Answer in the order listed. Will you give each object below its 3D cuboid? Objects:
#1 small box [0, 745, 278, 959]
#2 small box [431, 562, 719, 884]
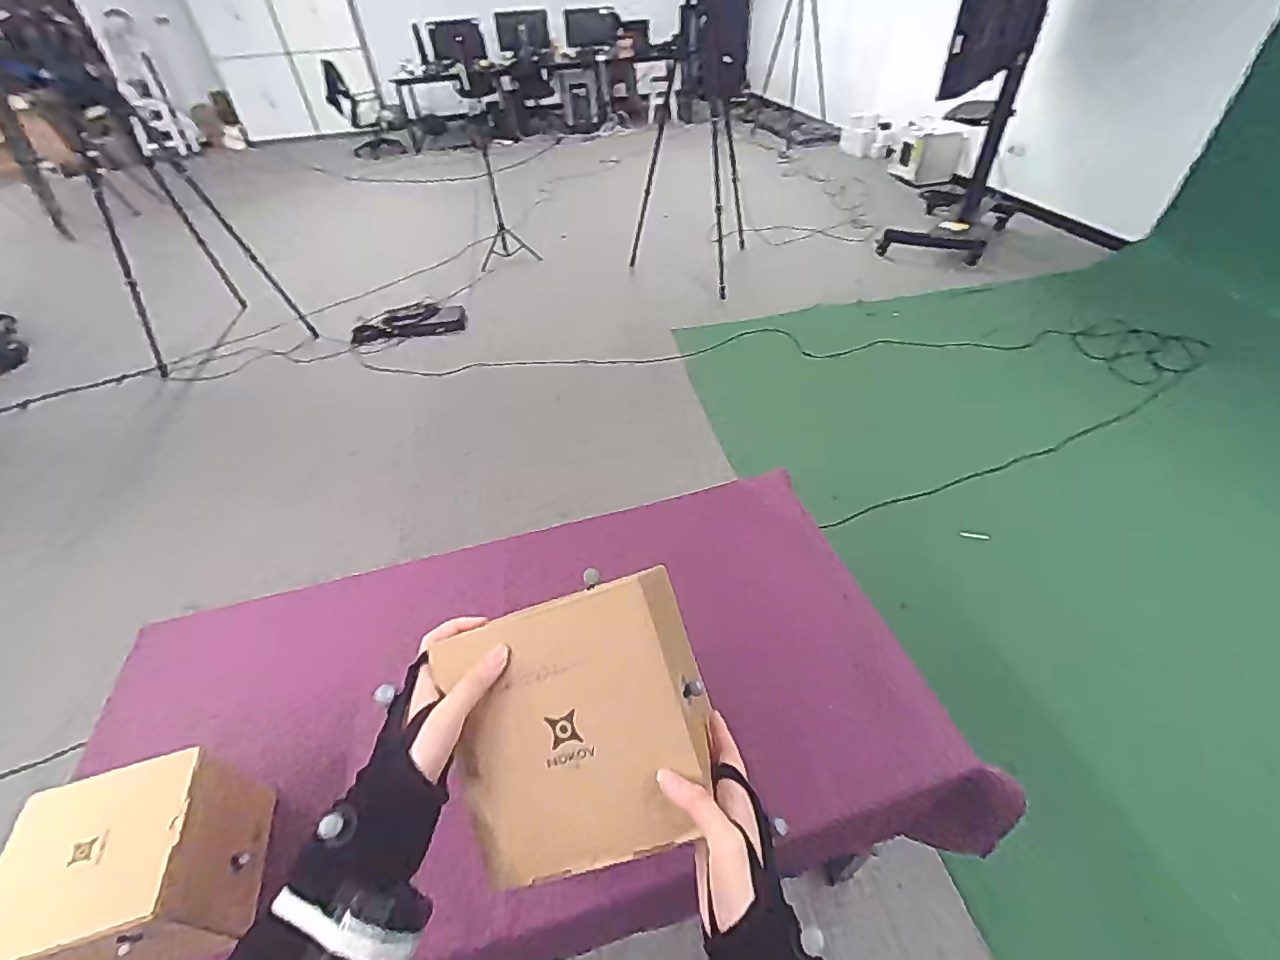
[{"bbox_3d":[-0.559,0.440,0.614,0.179,0.176,0.168,-14,43,-11],"label":"small box"},{"bbox_3d":[-0.037,0.178,0.449,0.168,0.176,0.179,-19,82,7],"label":"small box"}]
